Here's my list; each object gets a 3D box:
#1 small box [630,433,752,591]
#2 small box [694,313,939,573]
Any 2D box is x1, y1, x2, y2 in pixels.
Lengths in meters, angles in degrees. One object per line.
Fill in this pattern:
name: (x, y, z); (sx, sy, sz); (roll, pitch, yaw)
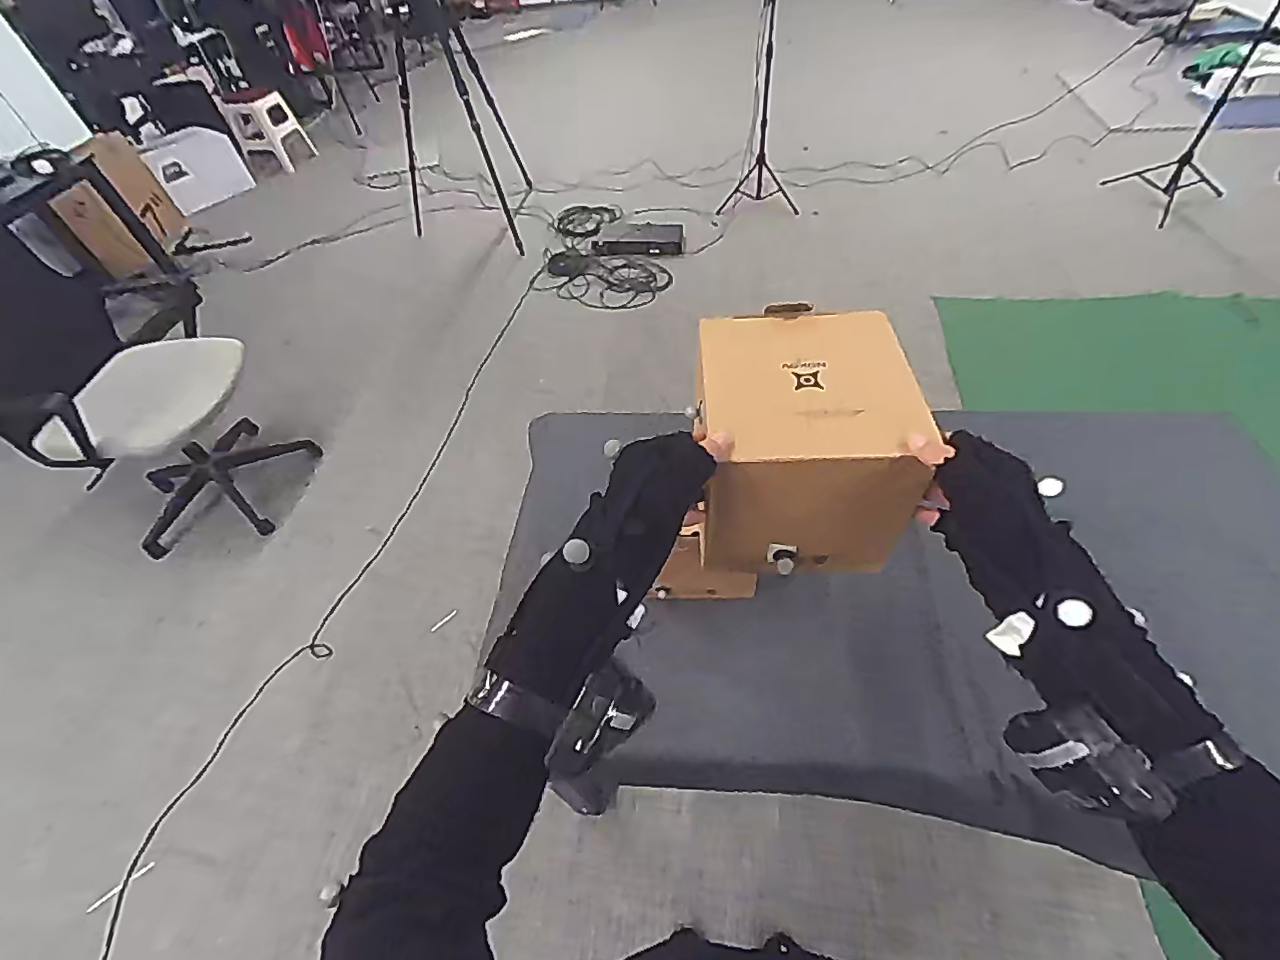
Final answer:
small box: (0.079, 0.050, 0.793); (0.168, 0.176, 0.179); (-1, 50, 5)
small box: (0.136, -0.032, 0.498); (0.168, 0.176, 0.179); (-1, 52, 4)
